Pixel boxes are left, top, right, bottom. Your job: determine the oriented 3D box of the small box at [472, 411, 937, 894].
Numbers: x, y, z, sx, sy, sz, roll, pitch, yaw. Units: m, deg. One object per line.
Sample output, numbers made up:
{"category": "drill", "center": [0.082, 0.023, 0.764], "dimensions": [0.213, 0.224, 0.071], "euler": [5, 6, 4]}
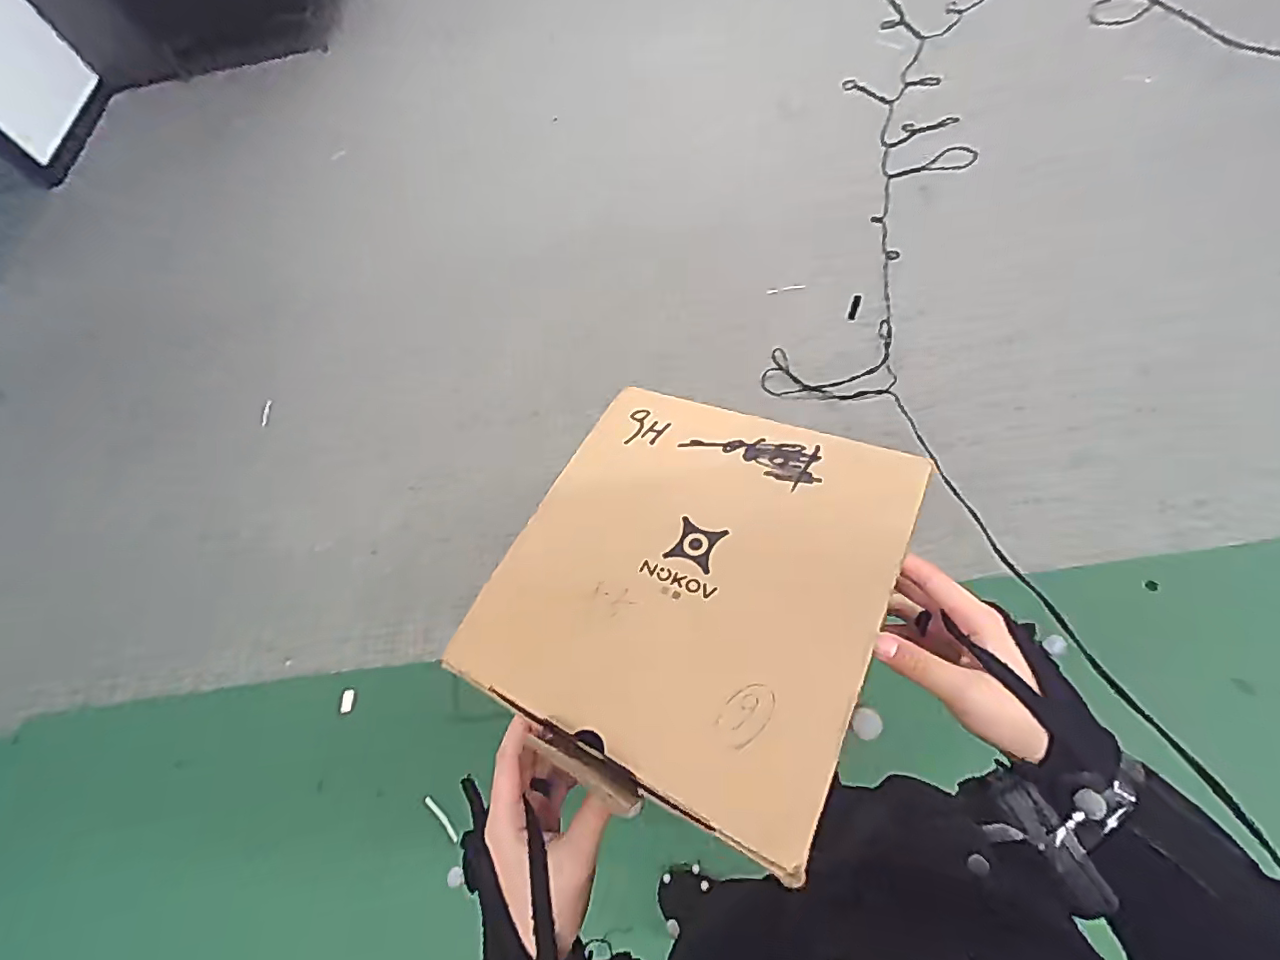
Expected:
{"category": "small box", "center": [0.048, 0.093, 0.313], "dimensions": [0.168, 0.176, 0.179], "euler": [18, 63, 26]}
